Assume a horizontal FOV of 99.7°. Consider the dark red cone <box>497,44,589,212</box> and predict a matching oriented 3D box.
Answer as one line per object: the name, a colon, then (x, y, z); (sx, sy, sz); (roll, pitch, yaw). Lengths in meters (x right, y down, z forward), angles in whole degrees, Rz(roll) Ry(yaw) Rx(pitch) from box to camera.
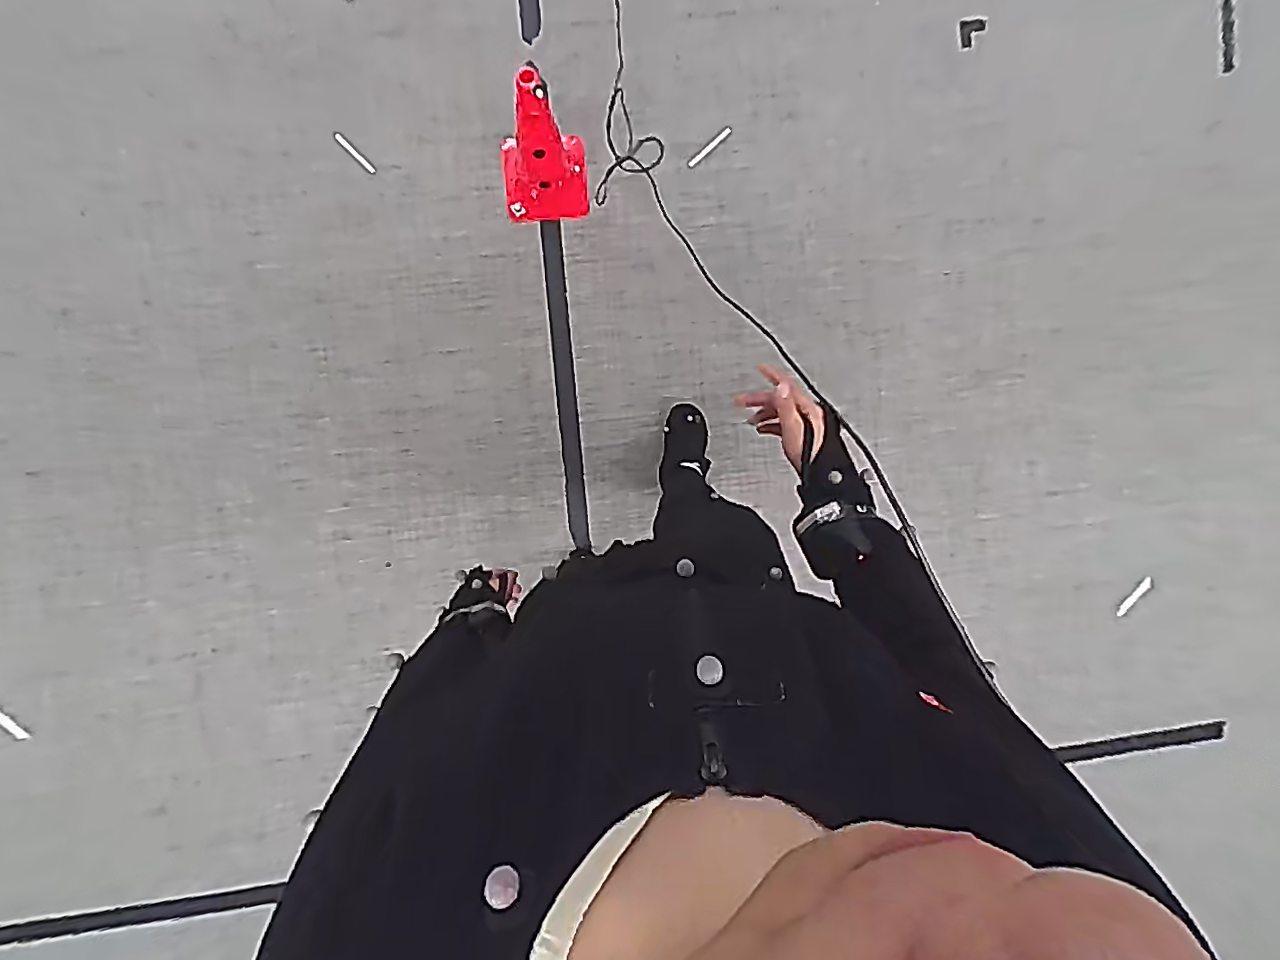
dark red cone: (-0.214, -0.735, 1.124); (0.201, 0.394, 0.202); (-7, 92, -5)
